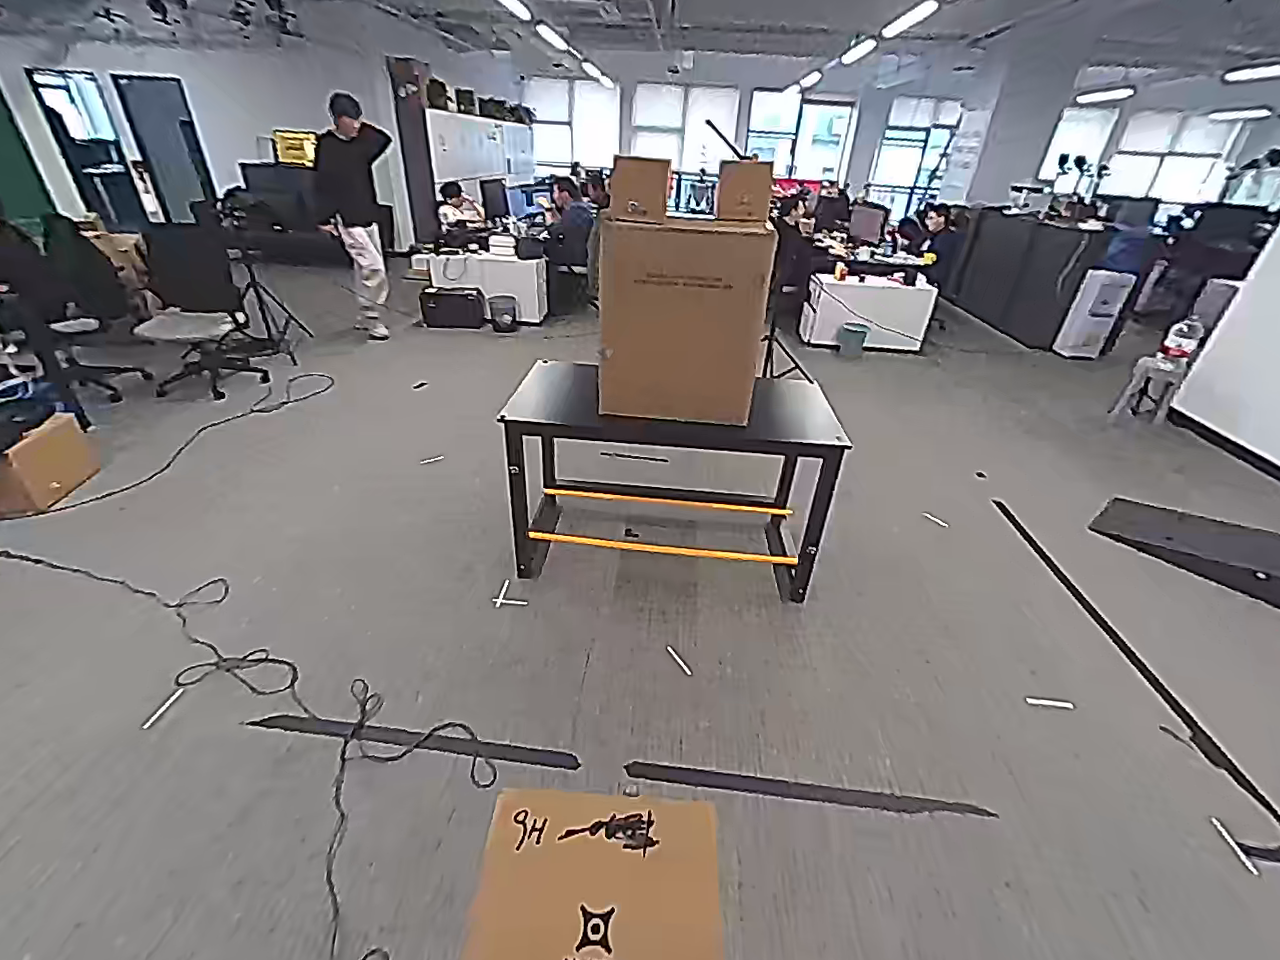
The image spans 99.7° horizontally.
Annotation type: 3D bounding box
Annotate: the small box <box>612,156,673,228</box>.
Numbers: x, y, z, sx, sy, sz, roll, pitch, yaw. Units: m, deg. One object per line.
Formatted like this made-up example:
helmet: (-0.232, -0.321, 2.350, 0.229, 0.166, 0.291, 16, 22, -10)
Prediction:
small box: (0.007, -0.870, 1.631, 0.168, 0.176, 0.179, 6, 33, 2)

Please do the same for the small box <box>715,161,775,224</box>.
small box: (0.337, -0.942, 1.775, 0.168, 0.176, 0.179, 3, 29, 3)

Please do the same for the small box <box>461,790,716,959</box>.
small box: (-0.032, 0.354, 0.404, 0.168, 0.176, 0.179, 3, 47, 1)
